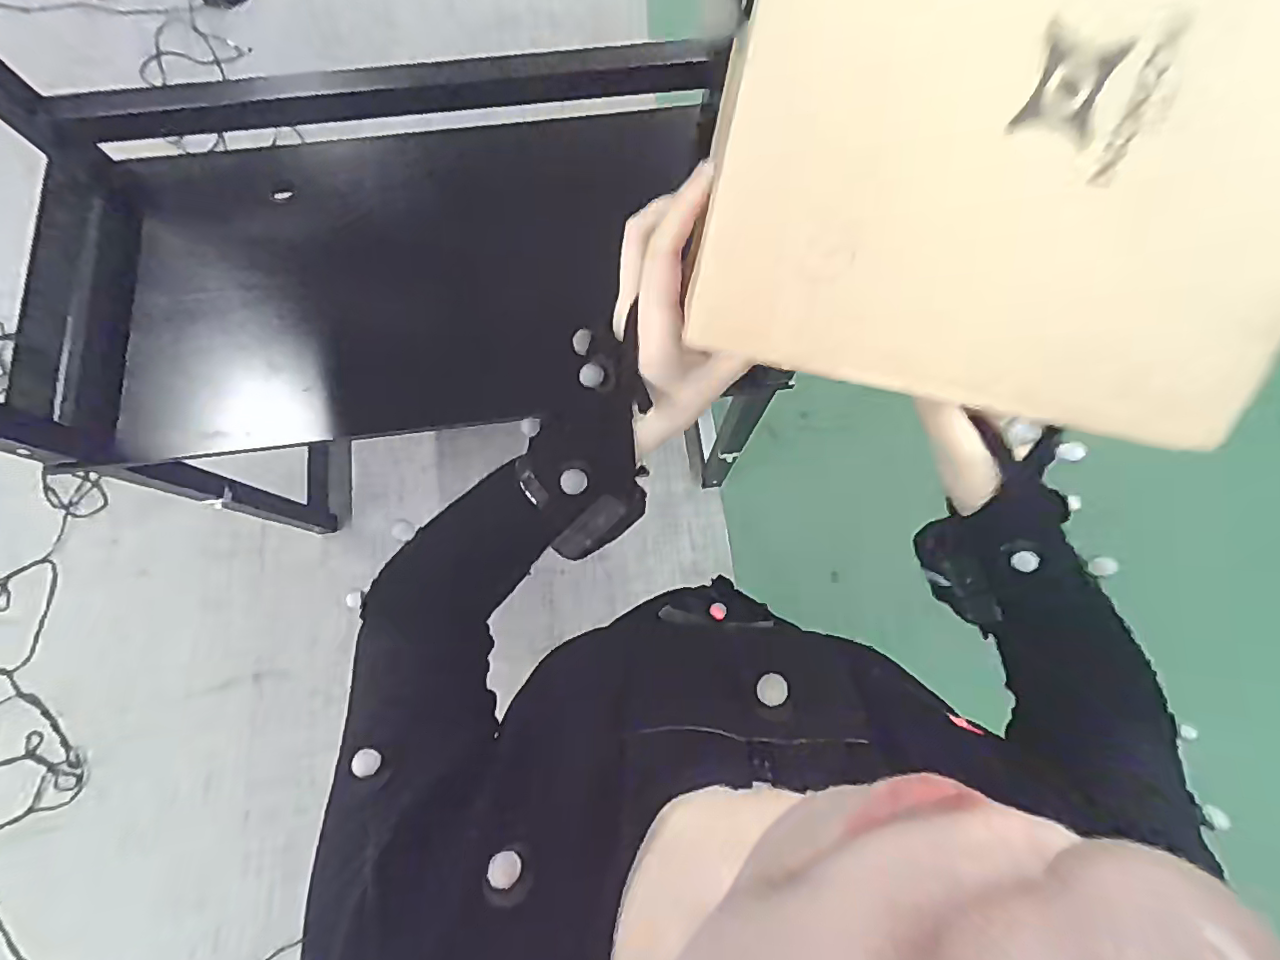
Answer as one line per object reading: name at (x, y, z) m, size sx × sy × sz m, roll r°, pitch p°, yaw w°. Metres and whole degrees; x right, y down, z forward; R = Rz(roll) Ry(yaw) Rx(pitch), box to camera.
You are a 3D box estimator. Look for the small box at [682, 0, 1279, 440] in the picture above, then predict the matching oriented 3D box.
small box at (0.118, -0.134, 0.227) m, size 0.179 × 0.176 × 0.168 m, roll 11°, pitch 113°, yaw -3°
